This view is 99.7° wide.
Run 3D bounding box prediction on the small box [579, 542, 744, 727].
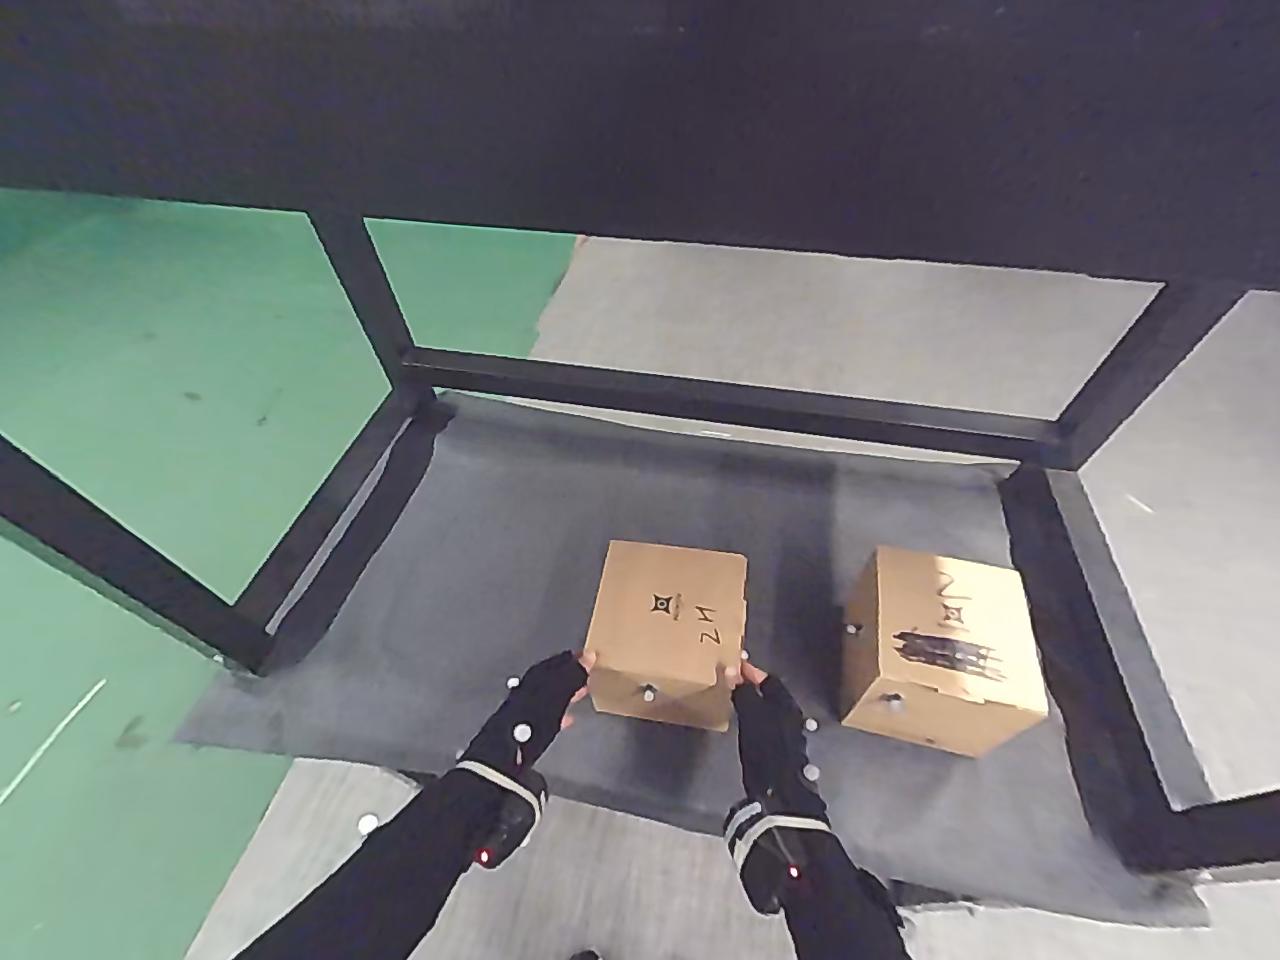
[{"bbox_3d":[0.034,0.202,0.697,0.179,0.176,0.168,6,52,8],"label":"small box"}]
